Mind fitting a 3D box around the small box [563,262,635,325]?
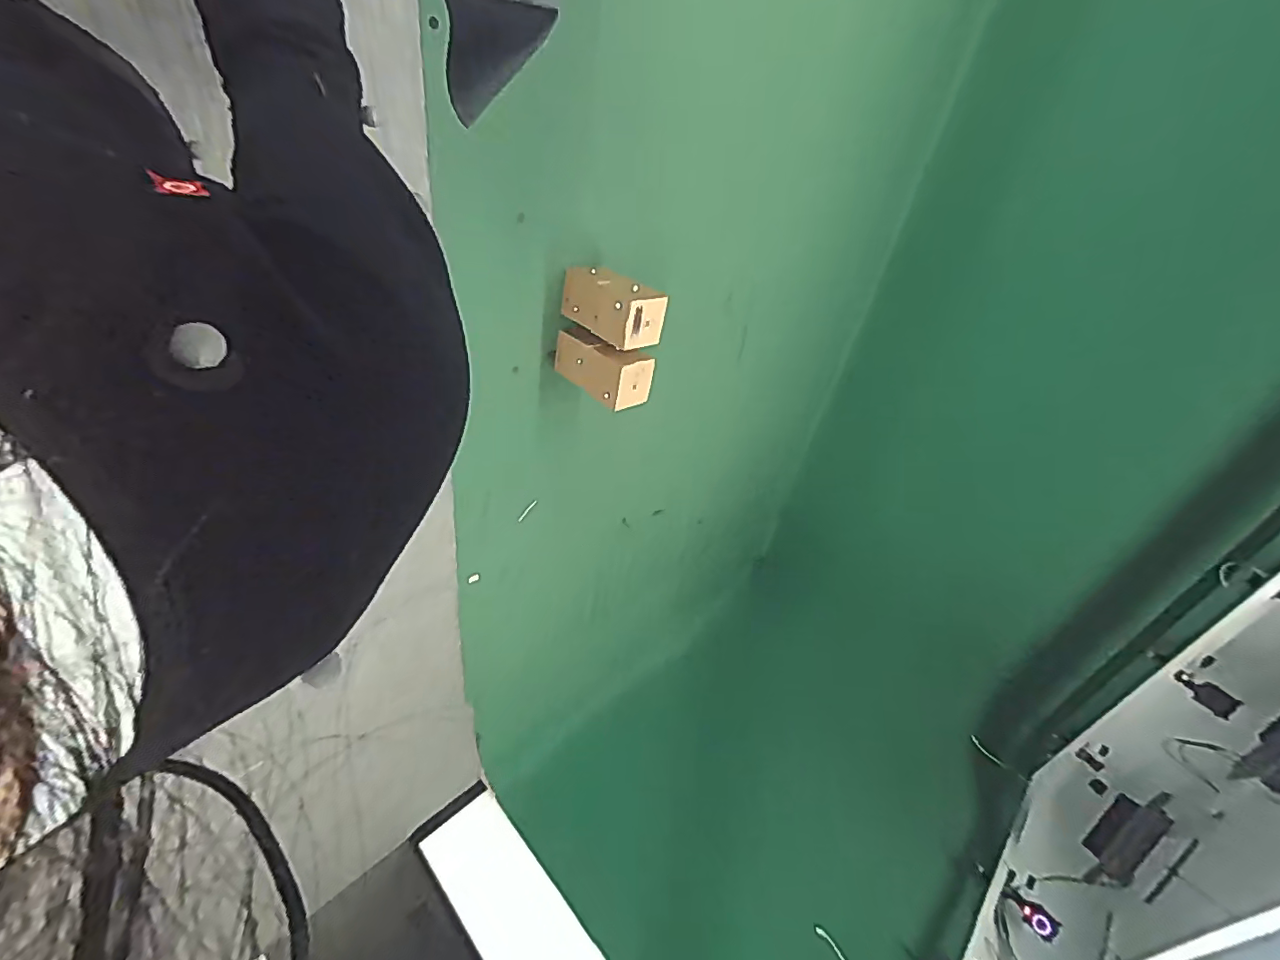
[{"bbox_3d":[-0.149,-0.654,1.895,0.179,0.176,0.168,-21,136,-42],"label":"small box"}]
